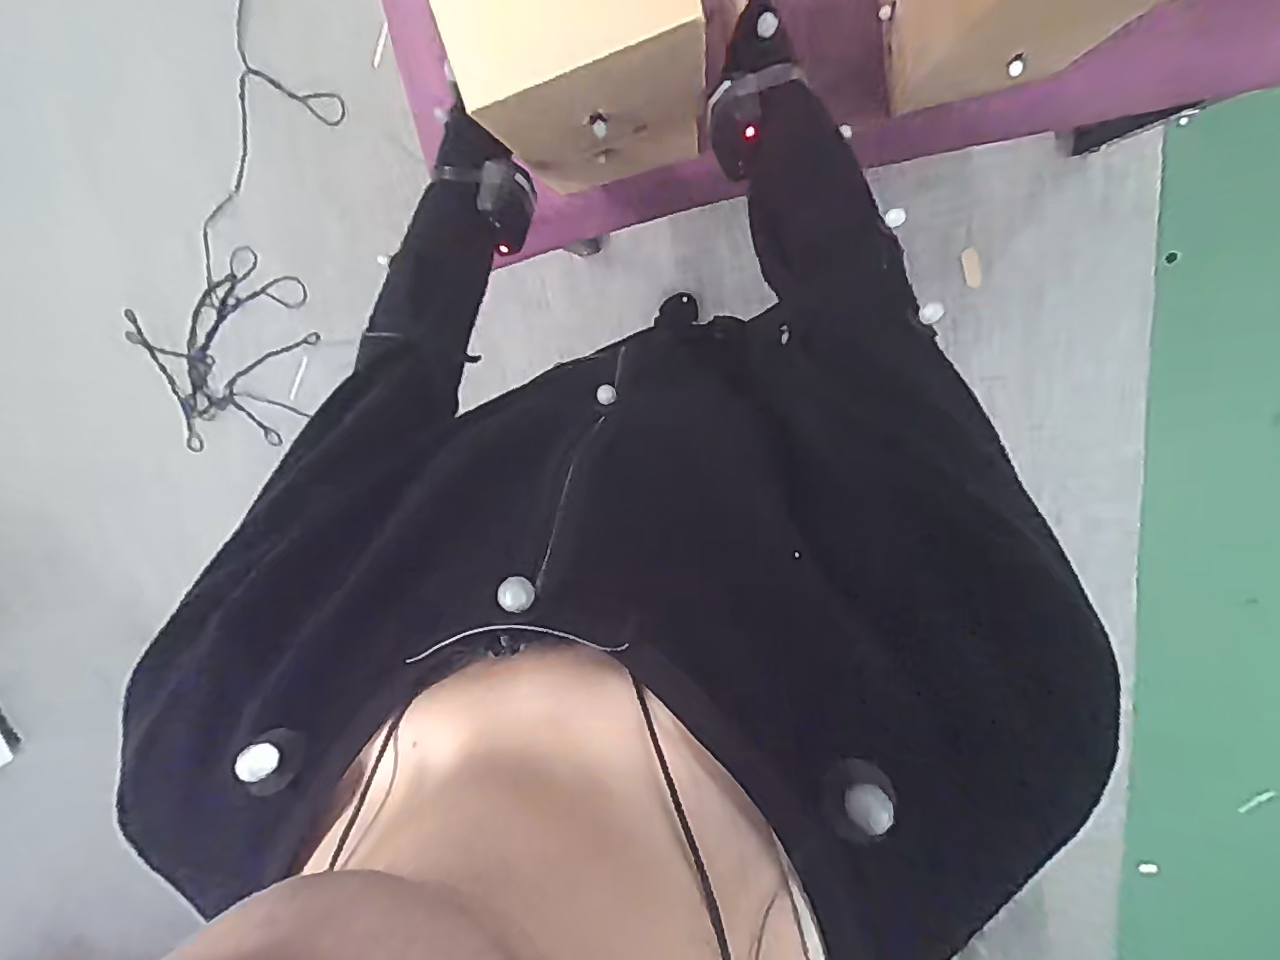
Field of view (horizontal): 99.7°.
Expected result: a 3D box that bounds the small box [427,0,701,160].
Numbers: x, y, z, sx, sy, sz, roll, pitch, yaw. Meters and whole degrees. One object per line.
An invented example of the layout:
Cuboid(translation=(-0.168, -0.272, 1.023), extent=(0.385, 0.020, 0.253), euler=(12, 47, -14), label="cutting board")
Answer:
Cuboid(translation=(-0.053, -0.365, 0.400), extent=(0.168, 0.176, 0.179), euler=(-14, 103, 11), label="small box")

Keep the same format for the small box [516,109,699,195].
Cuboid(translation=(-0.038, -0.417, 0.558), extent=(0.179, 0.176, 0.168), euler=(-11, 104, 9), label="small box")
